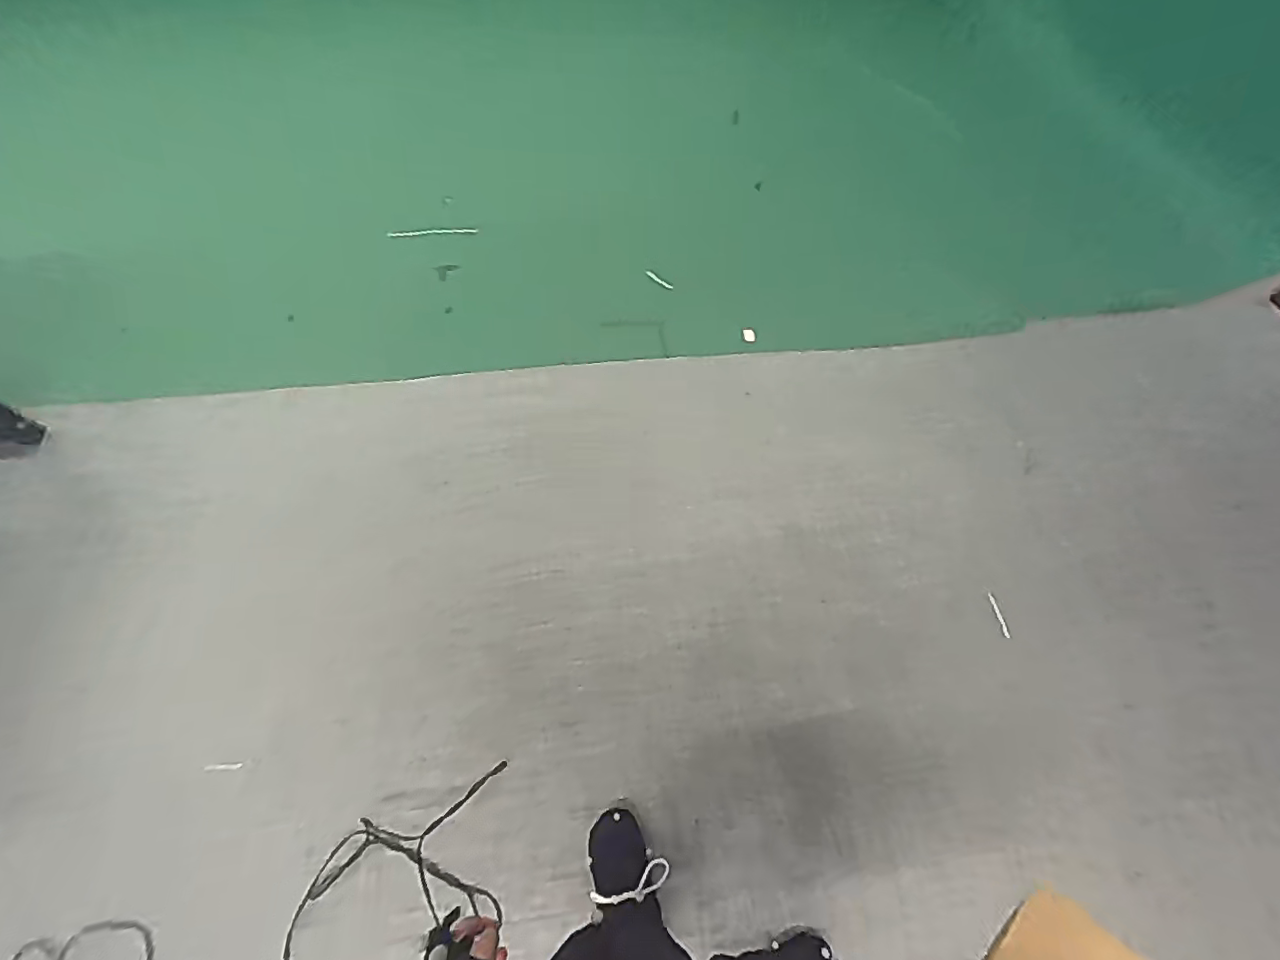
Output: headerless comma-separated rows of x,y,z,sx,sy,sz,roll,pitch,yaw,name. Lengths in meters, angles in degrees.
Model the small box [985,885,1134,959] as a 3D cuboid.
0.420,0.570,0.531,0.179,0.176,0.168,-12,29,-38,small box
